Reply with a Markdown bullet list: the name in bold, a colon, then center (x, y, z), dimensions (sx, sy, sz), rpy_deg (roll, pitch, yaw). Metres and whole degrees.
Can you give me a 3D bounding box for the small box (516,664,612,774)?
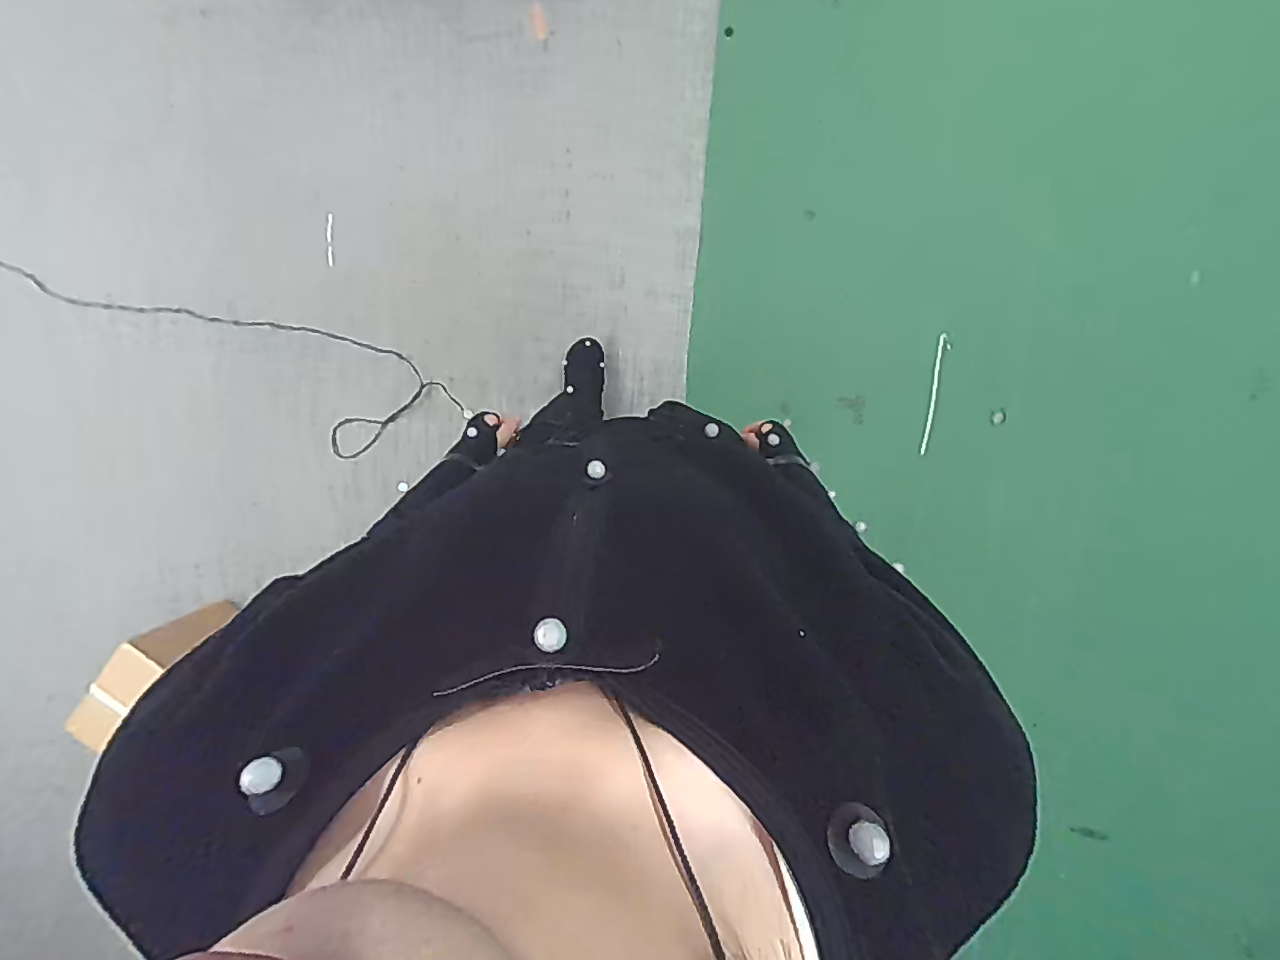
- **small box**: center (-0.159, 0.521, 1.186), dimensions (0.168, 0.176, 0.179), rpy_deg (-8, 97, 5)
